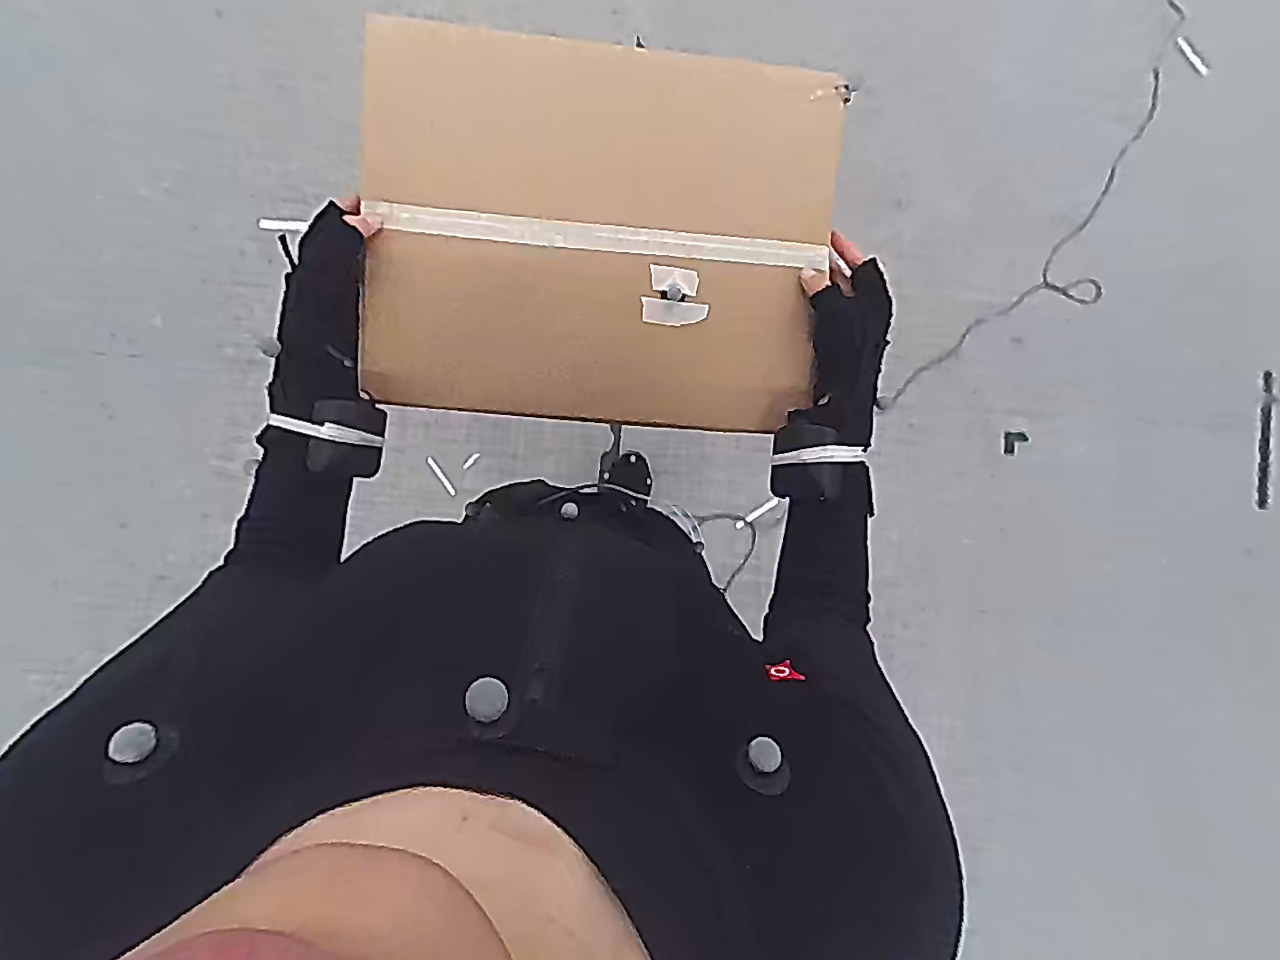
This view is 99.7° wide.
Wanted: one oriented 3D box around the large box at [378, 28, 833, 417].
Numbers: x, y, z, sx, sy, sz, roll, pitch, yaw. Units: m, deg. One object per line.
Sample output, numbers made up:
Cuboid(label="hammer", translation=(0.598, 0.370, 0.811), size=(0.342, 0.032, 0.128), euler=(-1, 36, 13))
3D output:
Cuboid(label="large box", translation=(-0.043, -0.238, 0.632), size=(0.408, 0.320, 0.320), euler=(3, 97, -5))
